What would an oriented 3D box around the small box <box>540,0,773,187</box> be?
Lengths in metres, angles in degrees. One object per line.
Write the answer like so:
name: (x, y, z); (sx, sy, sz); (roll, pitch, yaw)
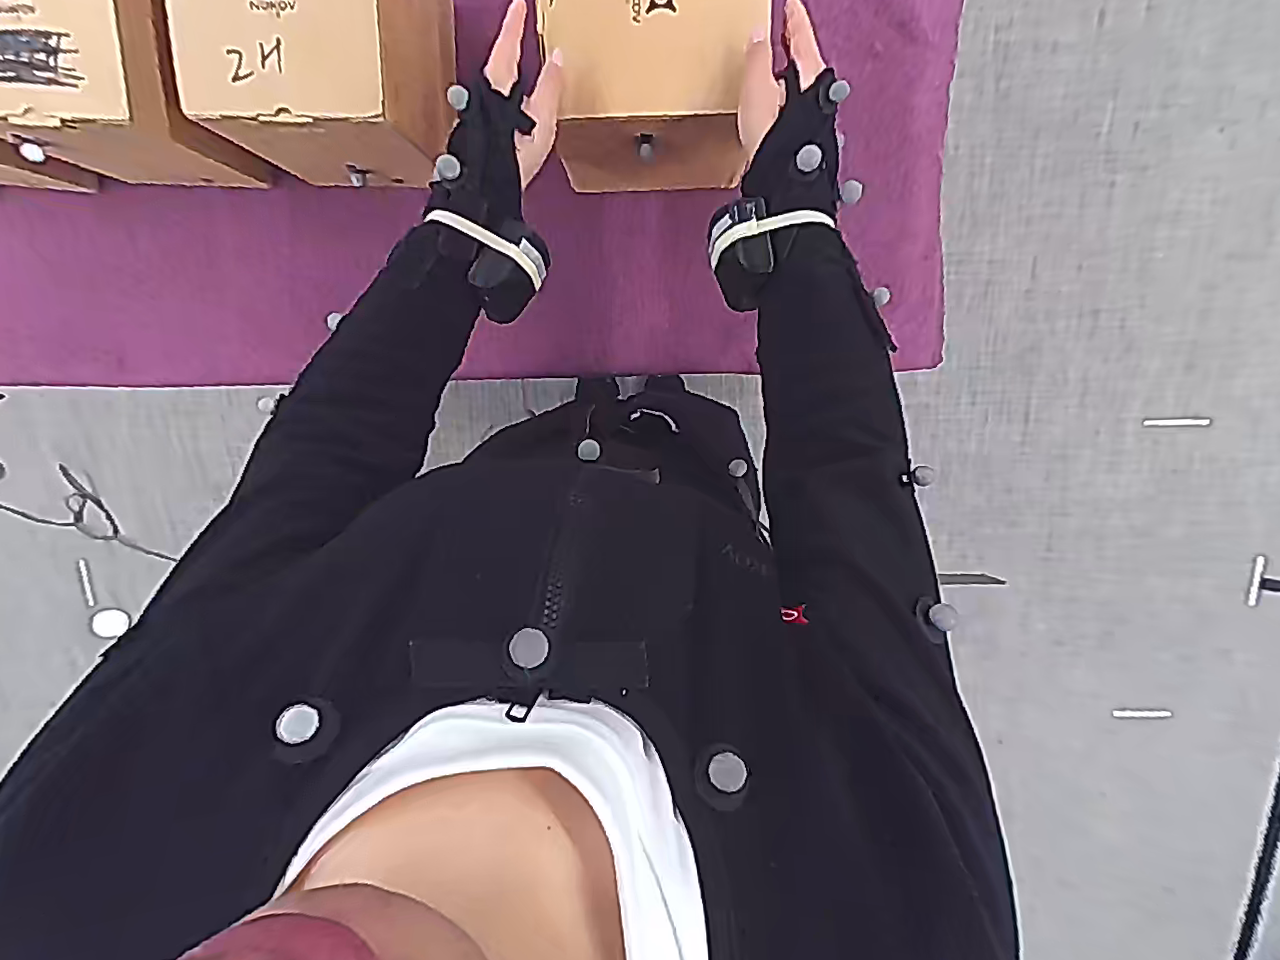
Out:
small box: (0.015, -0.376, 0.480); (0.179, 0.176, 0.168); (0, 101, 3)
